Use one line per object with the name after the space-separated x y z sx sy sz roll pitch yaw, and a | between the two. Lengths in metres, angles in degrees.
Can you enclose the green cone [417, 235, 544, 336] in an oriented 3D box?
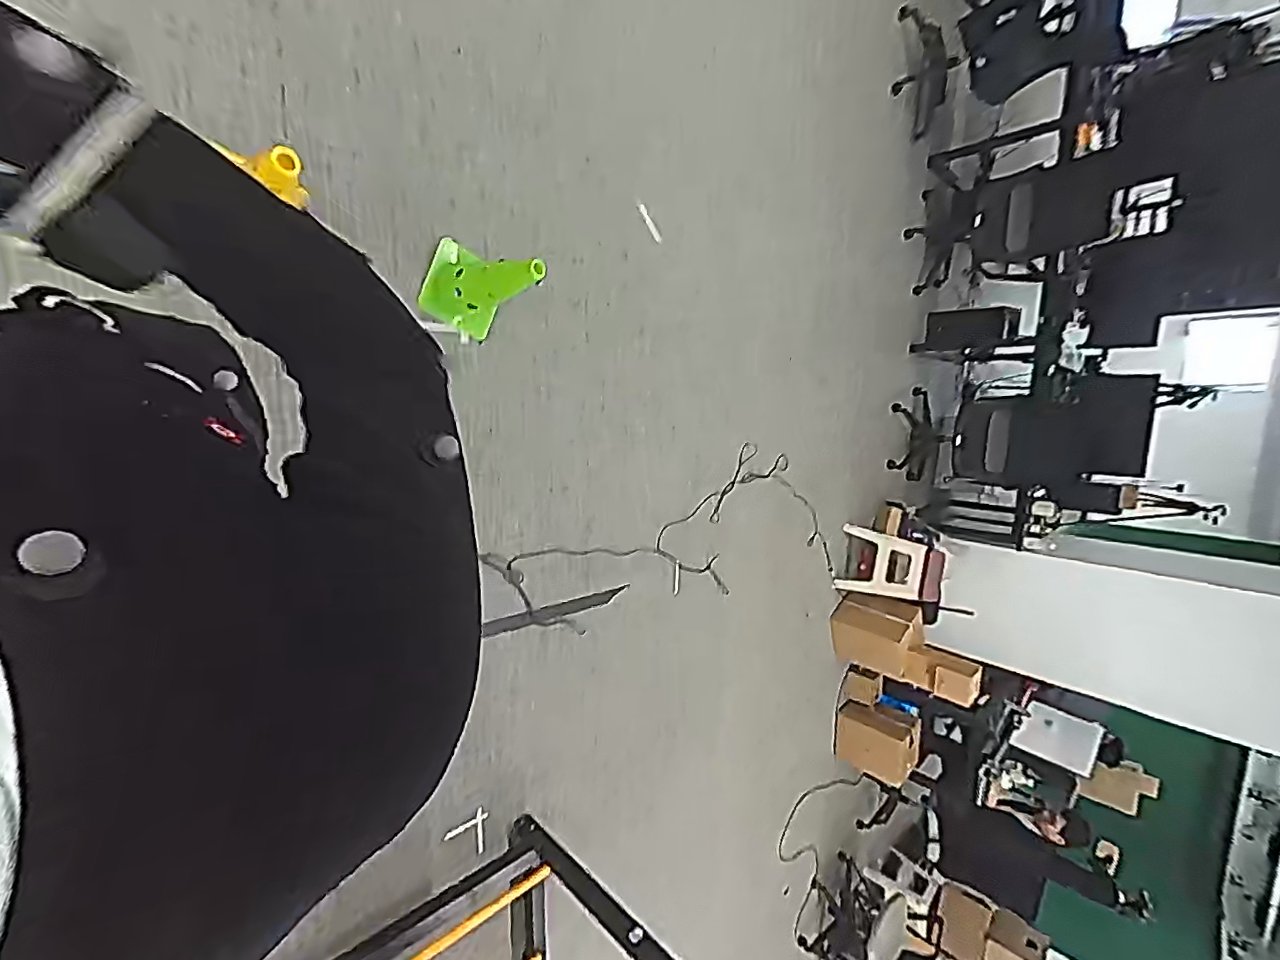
-0.351 -0.487 1.305 0.200 0.368 0.202 24 81 -44 | green cone
